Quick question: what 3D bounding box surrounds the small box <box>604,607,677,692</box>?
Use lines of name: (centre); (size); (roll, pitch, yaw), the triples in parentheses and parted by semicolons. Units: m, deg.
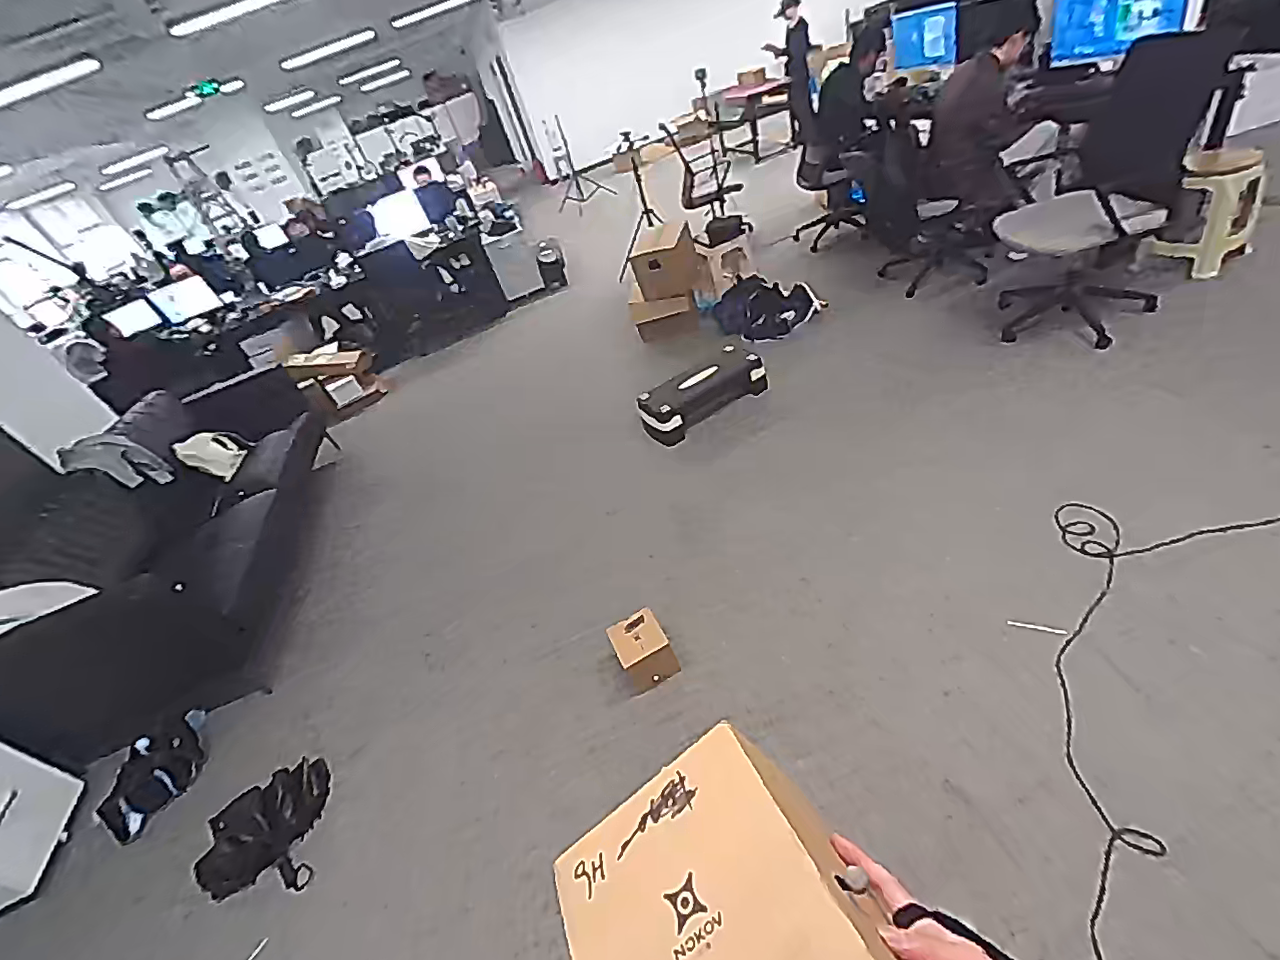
small box: (0.004, 0.567, 1.809); (0.168, 0.176, 0.179); (-27, 38, -8)

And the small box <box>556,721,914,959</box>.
small box: (0.072, 0.315, 0.374); (0.168, 0.176, 0.179); (-38, 34, -1)
